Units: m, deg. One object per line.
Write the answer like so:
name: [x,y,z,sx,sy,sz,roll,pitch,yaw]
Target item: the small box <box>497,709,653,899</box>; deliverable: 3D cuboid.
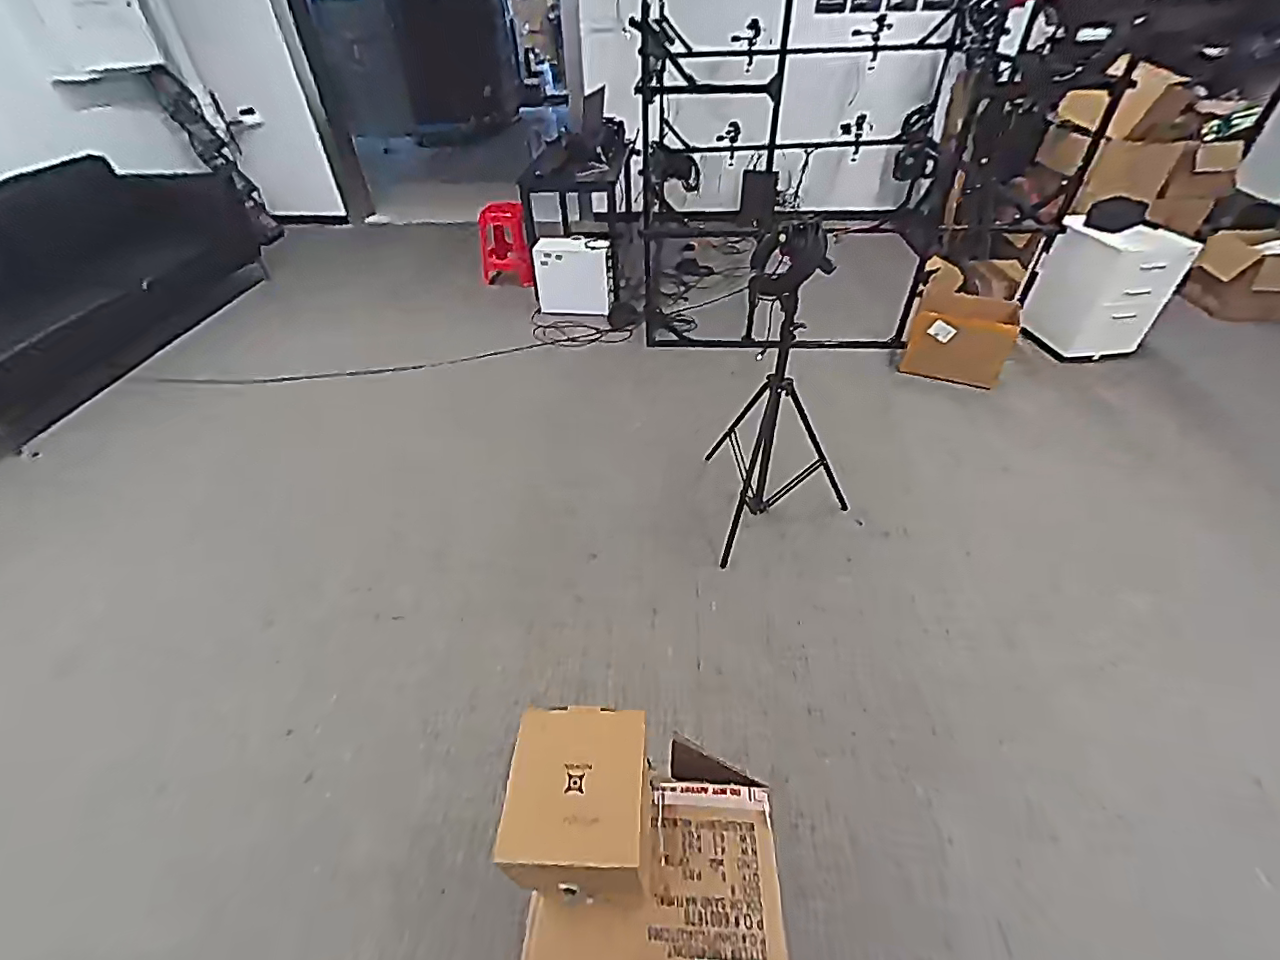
small box: [-0.071,0.421,0.707,0.168,0.176,0.179,-1,44,4]
